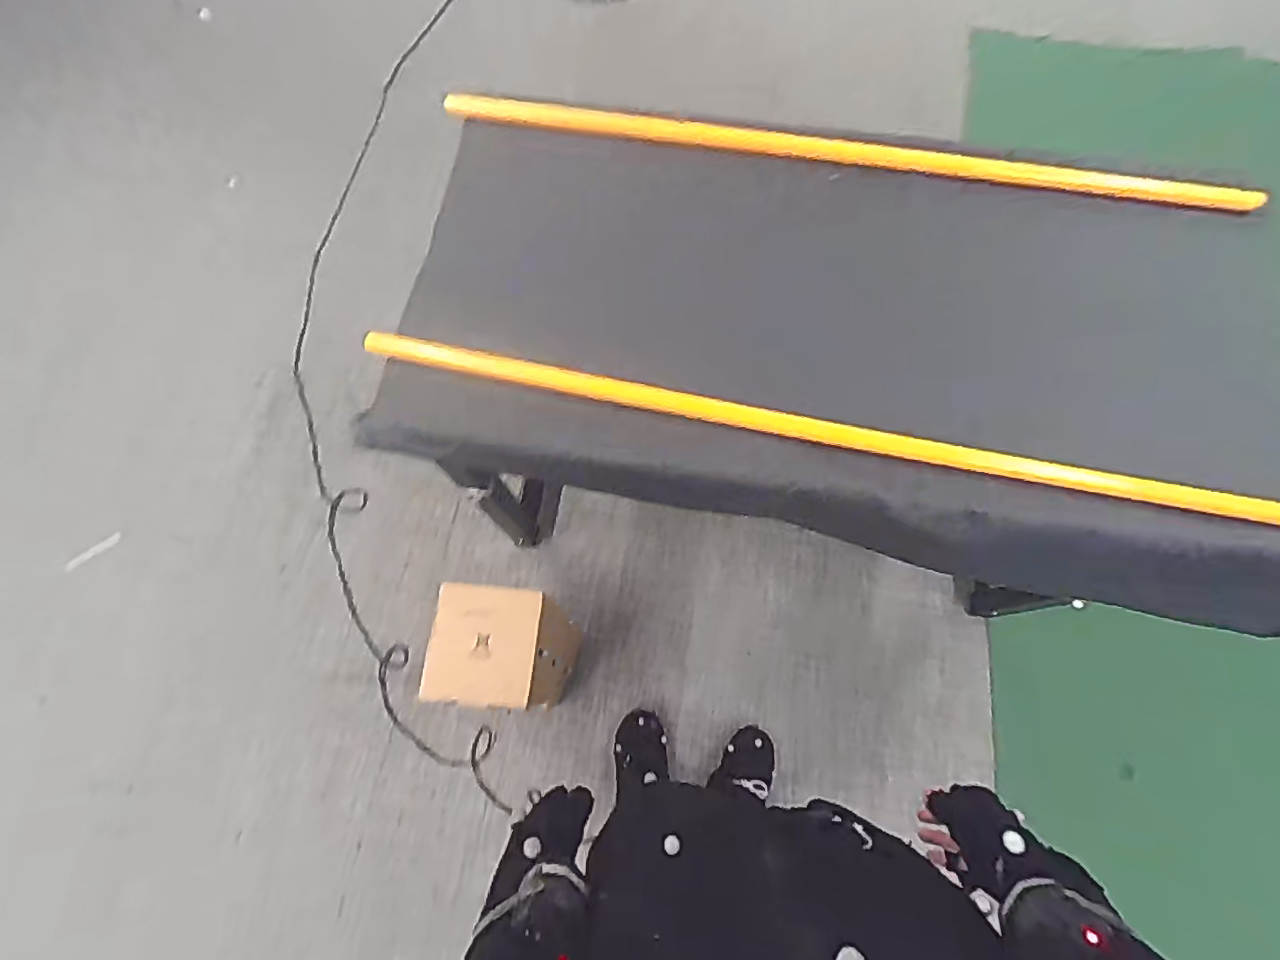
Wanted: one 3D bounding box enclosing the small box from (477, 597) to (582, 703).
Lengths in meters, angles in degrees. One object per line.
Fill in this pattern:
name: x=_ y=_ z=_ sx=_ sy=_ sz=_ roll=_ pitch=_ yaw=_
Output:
small box: x=-0.236 y=0.379 z=1.209 sx=0.168 sy=0.176 sz=0.179 roll=17 pitch=72 yaw=7
